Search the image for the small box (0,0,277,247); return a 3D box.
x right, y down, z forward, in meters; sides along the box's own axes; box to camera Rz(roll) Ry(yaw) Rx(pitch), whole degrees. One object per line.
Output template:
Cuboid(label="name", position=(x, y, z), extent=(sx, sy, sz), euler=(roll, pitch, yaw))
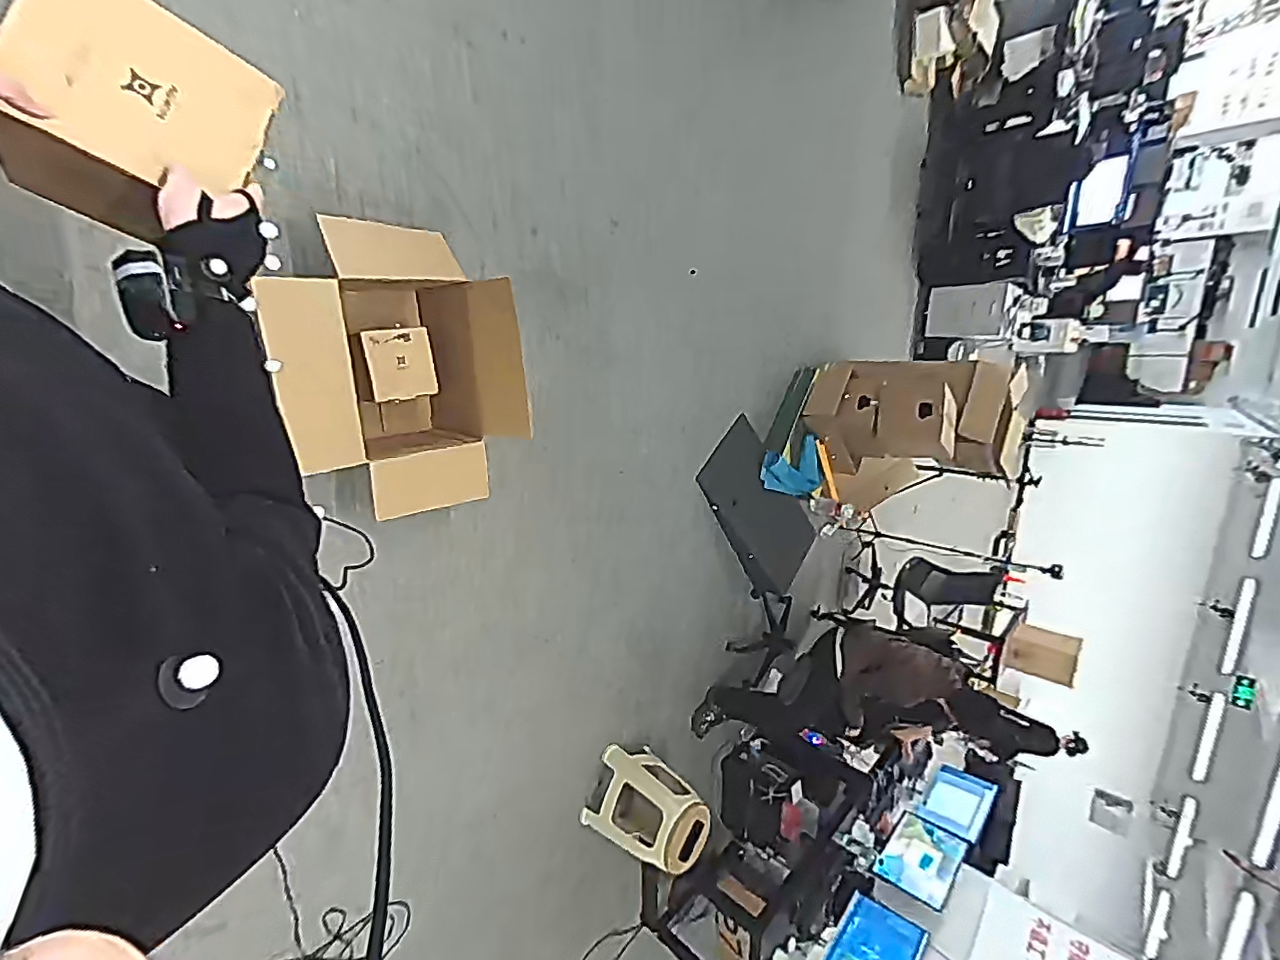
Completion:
Cuboid(label="small box", position=(-0.500, -0.360, 0.534), extent=(0.179, 0.176, 0.168), euler=(23, 72, -40))
